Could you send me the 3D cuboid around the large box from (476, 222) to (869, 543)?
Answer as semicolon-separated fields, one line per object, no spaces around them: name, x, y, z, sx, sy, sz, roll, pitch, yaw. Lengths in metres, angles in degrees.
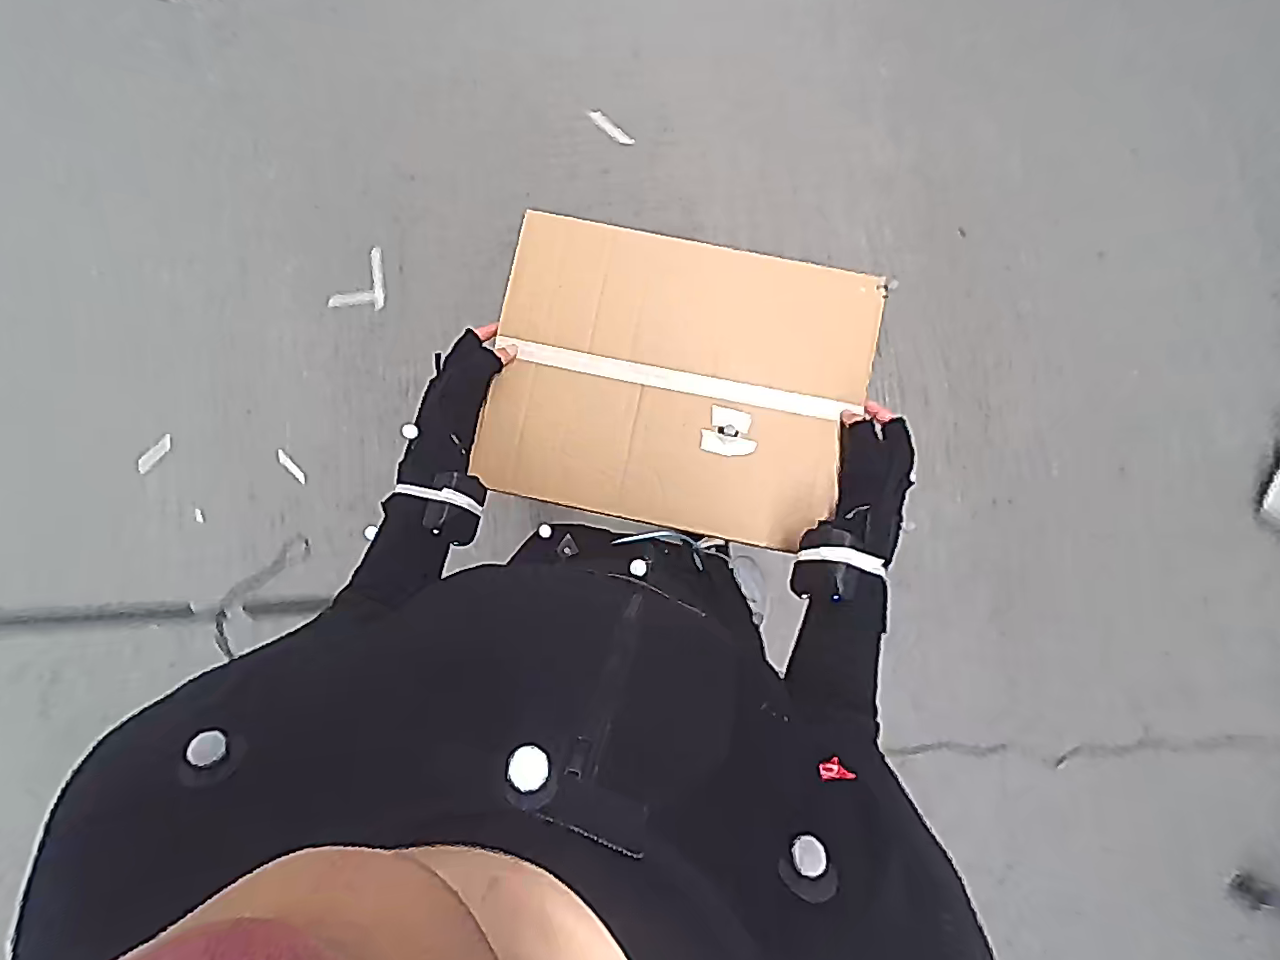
large box;0.037;-0.104;0.751;0.408;0.320;0.320;11;88;1
